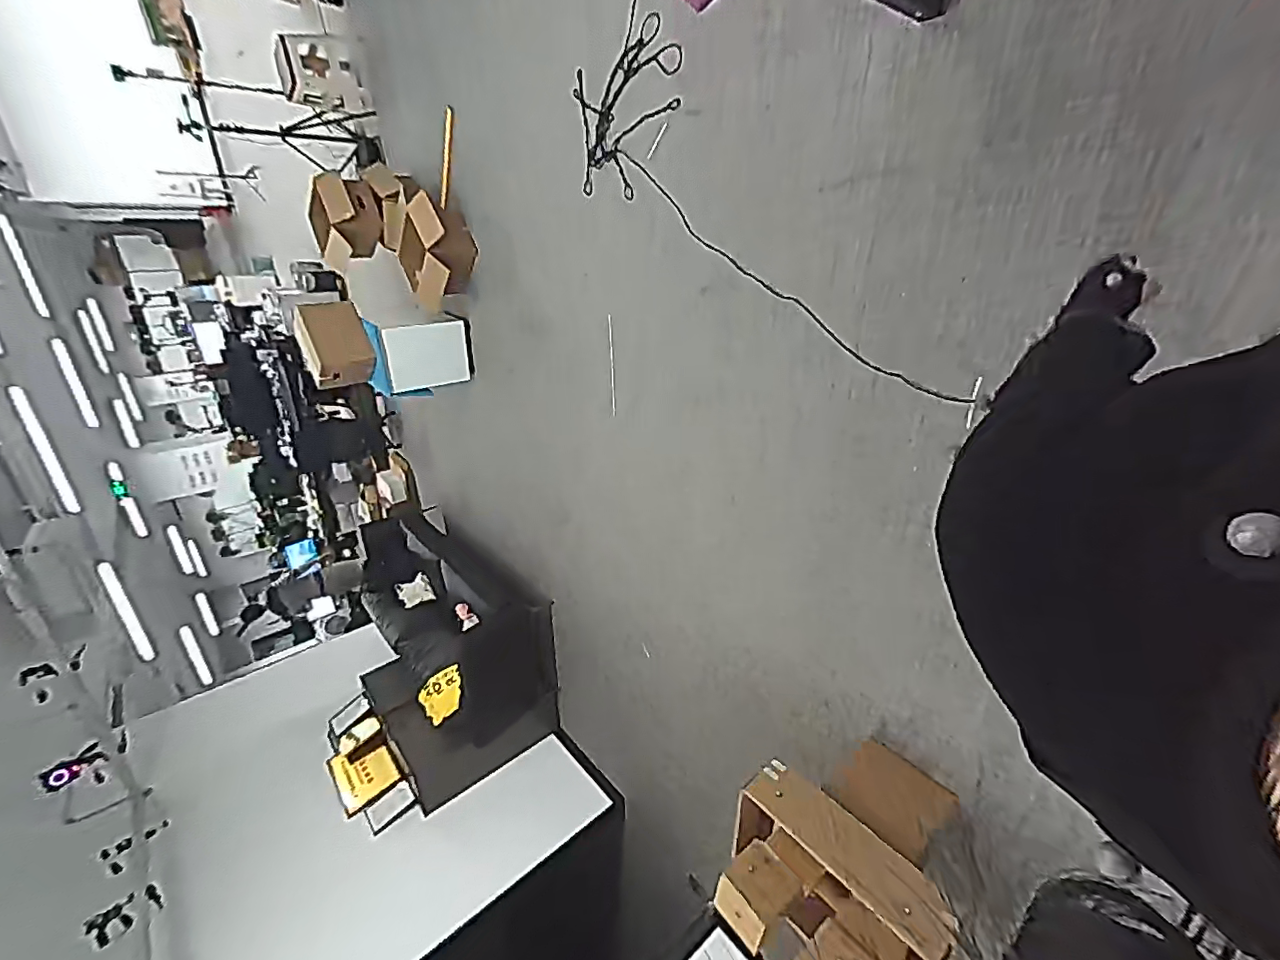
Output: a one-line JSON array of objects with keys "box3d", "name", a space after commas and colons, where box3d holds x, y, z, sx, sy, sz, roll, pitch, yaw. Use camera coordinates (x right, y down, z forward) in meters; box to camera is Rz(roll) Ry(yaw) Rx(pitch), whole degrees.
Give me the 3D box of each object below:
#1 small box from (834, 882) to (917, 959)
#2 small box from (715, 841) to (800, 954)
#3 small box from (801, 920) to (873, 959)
[{"box3d": [0.651, 1.296, 1.514, 0.168, 0.176, 0.179, 22, 122, 45], "name": "small box"}, {"box3d": [0.349, 1.222, 1.596, 0.168, 0.176, 0.179, 33, 130, 41], "name": "small box"}, {"box3d": [0.520, 1.325, 1.418, 0.168, 0.176, 0.179, 24, 123, 46], "name": "small box"}]
